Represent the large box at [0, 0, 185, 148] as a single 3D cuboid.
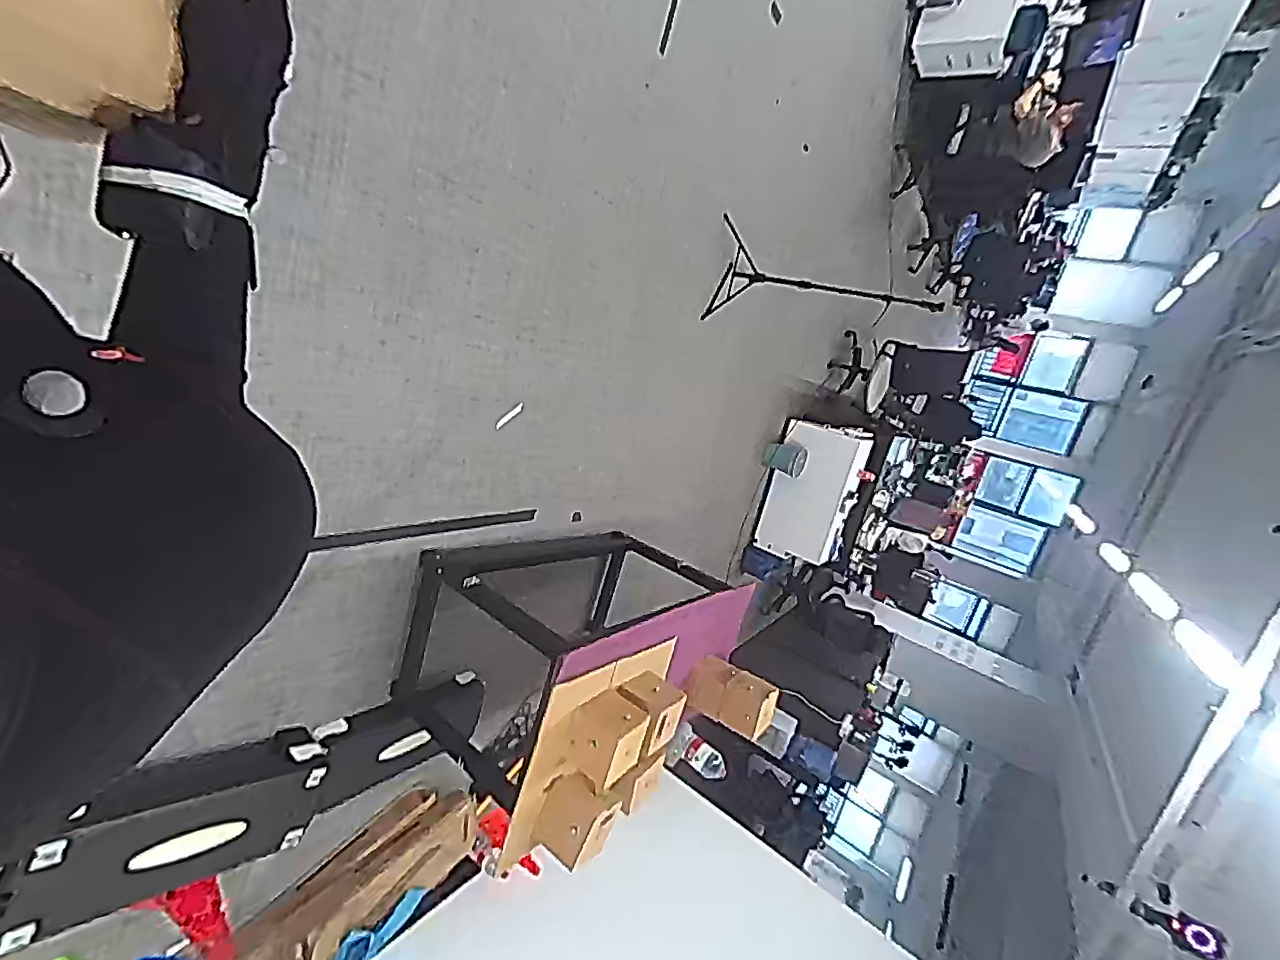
[{"bbox_3d":[-0.519,-0.425,0.261,0.408,0.320,0.320,0,111,-60],"label":"large box"}]
